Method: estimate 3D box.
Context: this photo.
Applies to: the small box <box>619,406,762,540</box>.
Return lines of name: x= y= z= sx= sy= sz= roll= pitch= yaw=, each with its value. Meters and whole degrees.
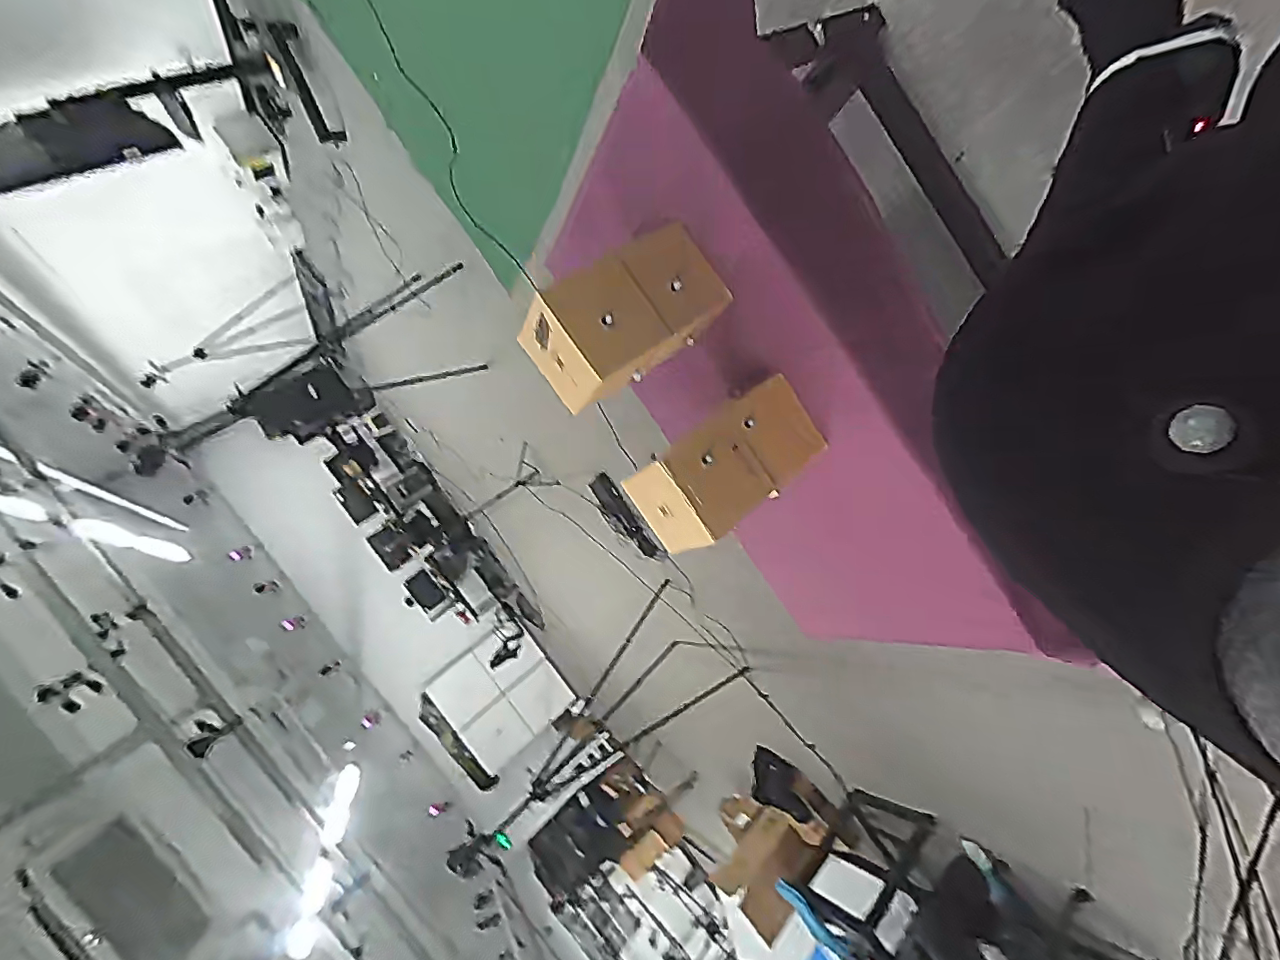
small box: x=0.096 y=-0.012 z=0.985 sx=0.168 sy=0.176 sz=0.179 roll=56 pitch=154 yaw=-4

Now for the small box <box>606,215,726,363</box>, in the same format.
small box: x=0.029 y=-0.360 z=1.024 sx=0.179 sy=0.176 sz=0.168 roll=53 pitch=153 yaw=-3

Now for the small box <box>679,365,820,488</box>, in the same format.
small box: x=0.216 y=-0.094 z=1.059 sx=0.179 sy=0.176 sz=0.168 roll=56 pitch=153 yaw=-5

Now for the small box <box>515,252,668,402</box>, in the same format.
small box: x=-0.086 y=-0.271 z=0.947 sx=0.179 sy=0.176 sz=0.168 roll=54 pitch=154 yaw=-4
